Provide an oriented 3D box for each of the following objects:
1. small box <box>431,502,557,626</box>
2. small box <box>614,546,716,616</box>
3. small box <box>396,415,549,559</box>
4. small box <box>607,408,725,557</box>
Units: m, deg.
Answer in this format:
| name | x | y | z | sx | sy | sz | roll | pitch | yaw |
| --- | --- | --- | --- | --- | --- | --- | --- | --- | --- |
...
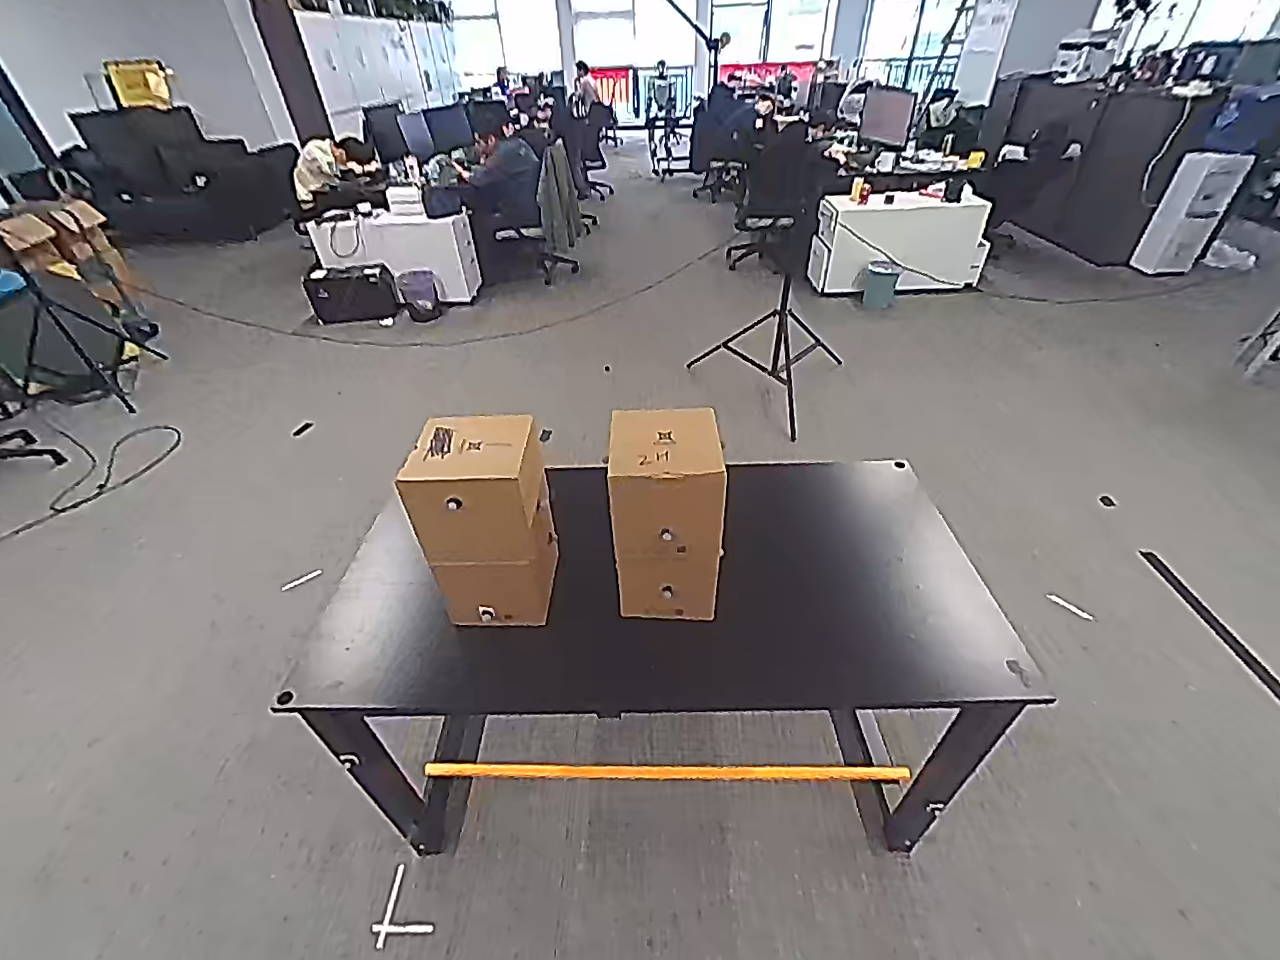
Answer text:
| name | x | y | z | sx | sy | sz | roll | pitch | yaw |
| --- | --- | --- | --- | --- | --- | --- | --- | --- | --- |
| small box | -0.247 | 0.140 | 0.969 | 0.168 | 0.176 | 0.179 | -2 | 40 | 2 |
| small box | 0.051 | 0.126 | 0.970 | 0.168 | 0.176 | 0.179 | 1 | 40 | 5 |
| small box | -0.253 | 0.013 | 0.864 | 0.179 | 0.176 | 0.168 | -2 | 39 | 1 |
| small box | 0.039 | 0.003 | 0.859 | 0.168 | 0.176 | 0.179 | -2 | 39 | 2 |
